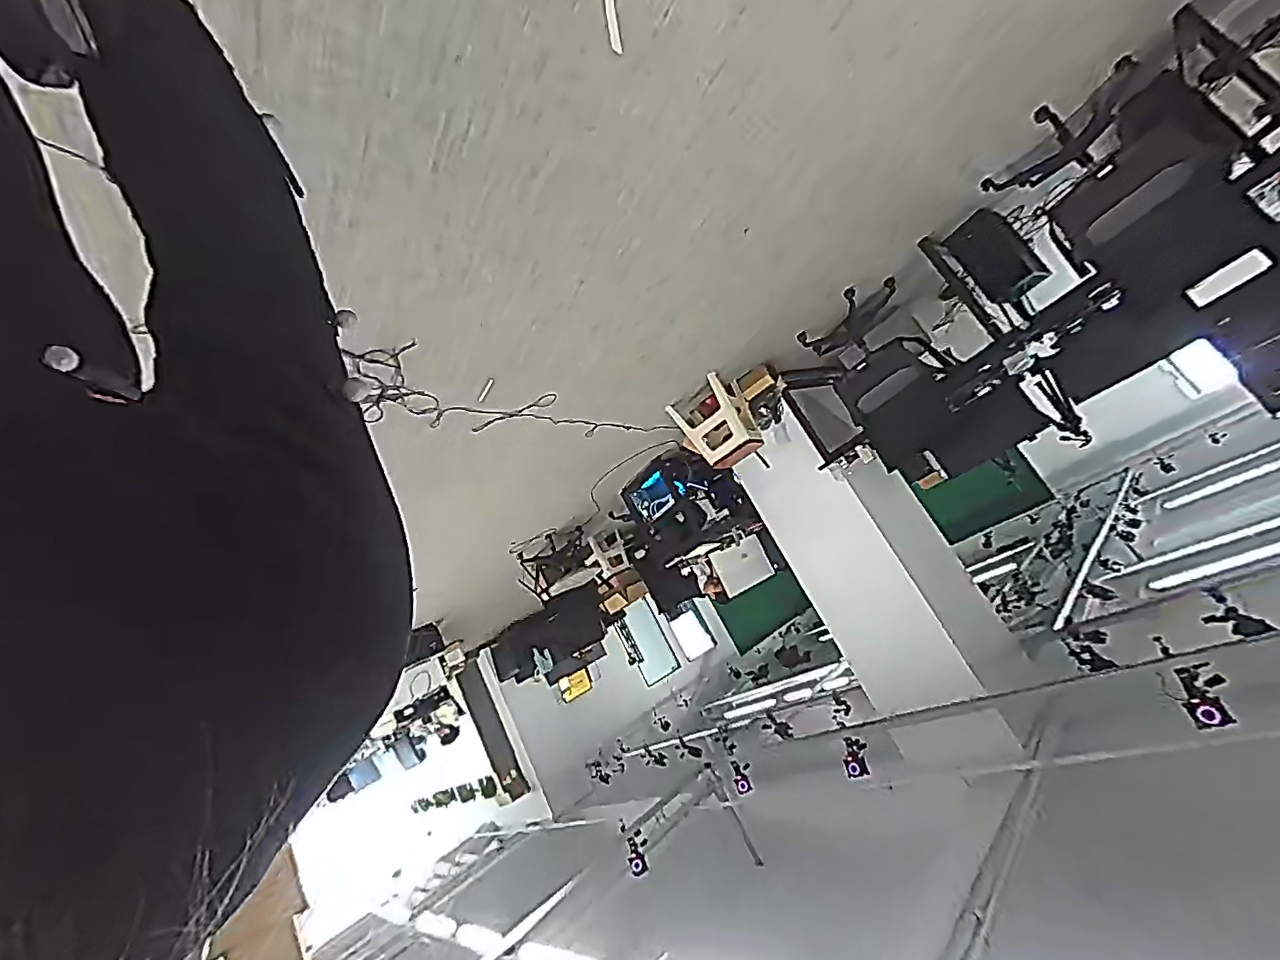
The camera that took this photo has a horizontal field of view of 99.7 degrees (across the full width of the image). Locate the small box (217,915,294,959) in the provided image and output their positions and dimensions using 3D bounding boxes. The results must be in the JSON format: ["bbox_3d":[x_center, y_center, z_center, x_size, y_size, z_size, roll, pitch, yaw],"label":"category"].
[{"bbox_3d":[-1.229,1.532,1.726,0.168,0.176,0.179,-13,159,-45],"label":"small box"}]
